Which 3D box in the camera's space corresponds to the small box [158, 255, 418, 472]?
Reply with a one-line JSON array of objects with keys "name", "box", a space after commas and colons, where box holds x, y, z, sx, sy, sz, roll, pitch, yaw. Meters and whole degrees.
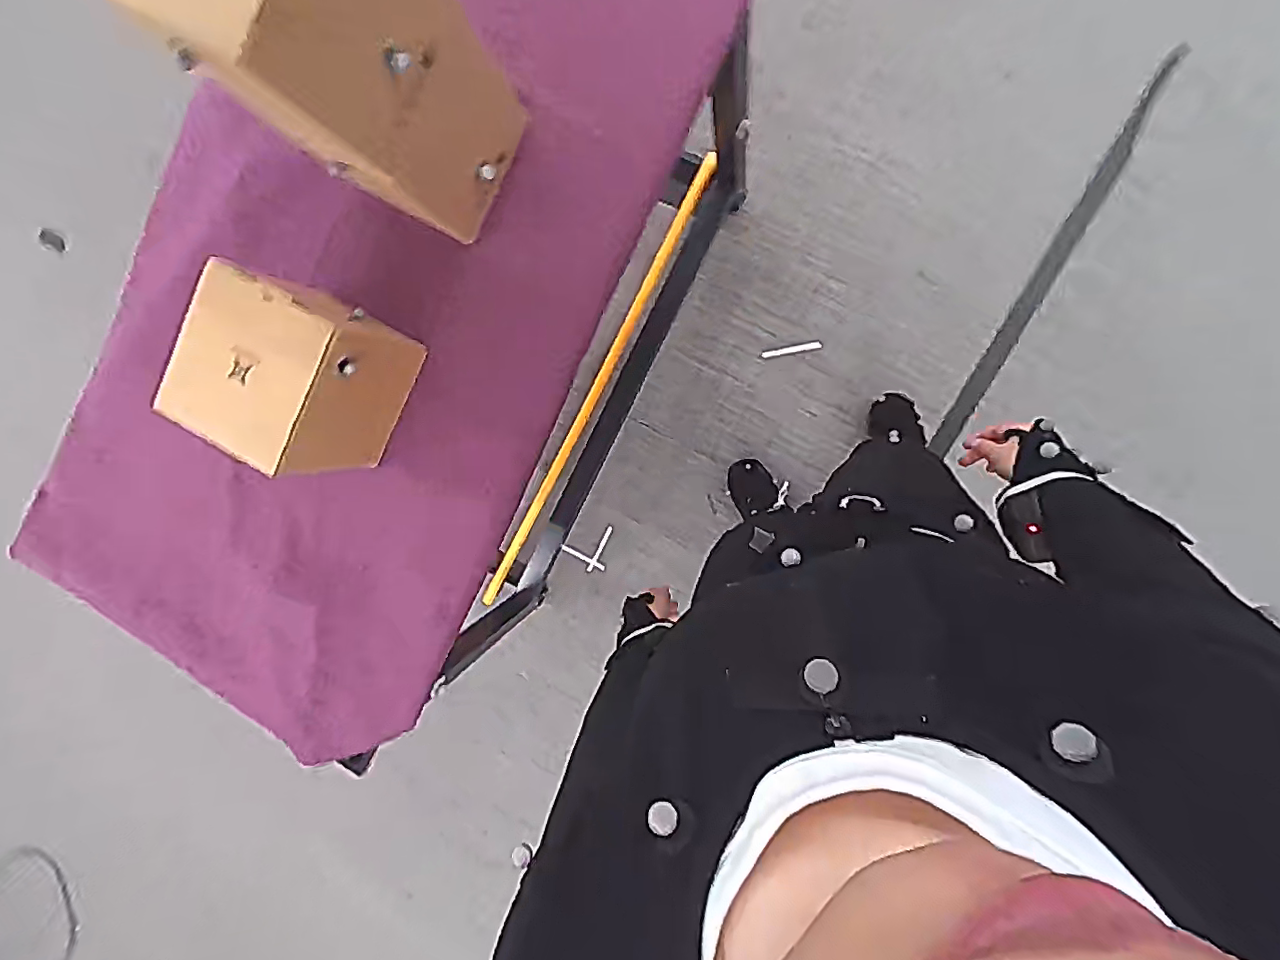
[{"name": "small box", "box": [-0.398, -0.126, 0.640, 0.168, 0.176, 0.179, 28, 98, 7]}]

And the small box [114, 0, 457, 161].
[{"name": "small box", "box": [-0.286, -0.396, 0.431, 0.179, 0.176, 0.168, 29, 99, 6]}]

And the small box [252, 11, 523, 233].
[{"name": "small box", "box": [-0.261, -0.404, 0.594, 0.179, 0.176, 0.168, 29, 99, 6]}]
